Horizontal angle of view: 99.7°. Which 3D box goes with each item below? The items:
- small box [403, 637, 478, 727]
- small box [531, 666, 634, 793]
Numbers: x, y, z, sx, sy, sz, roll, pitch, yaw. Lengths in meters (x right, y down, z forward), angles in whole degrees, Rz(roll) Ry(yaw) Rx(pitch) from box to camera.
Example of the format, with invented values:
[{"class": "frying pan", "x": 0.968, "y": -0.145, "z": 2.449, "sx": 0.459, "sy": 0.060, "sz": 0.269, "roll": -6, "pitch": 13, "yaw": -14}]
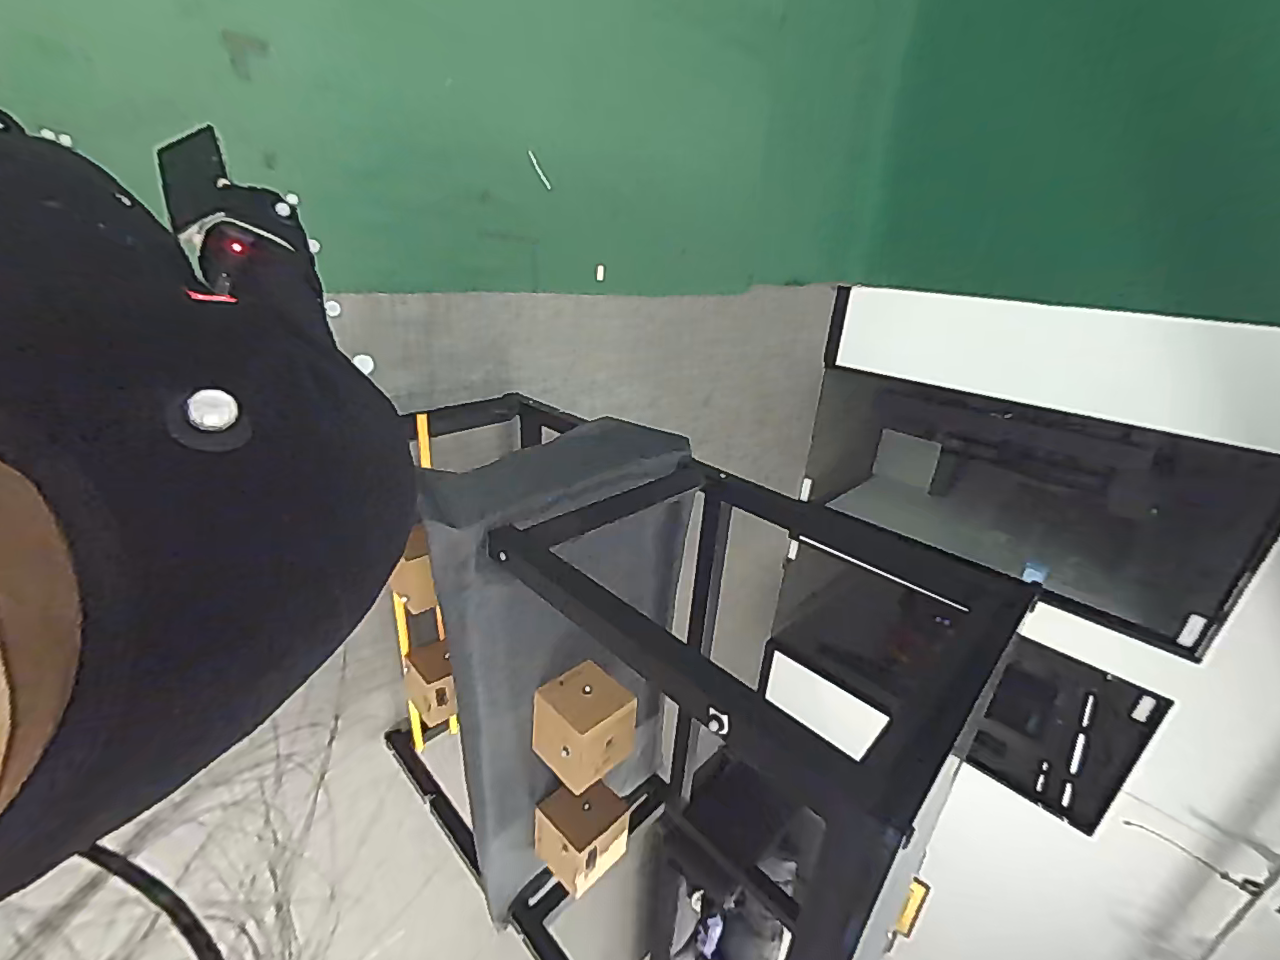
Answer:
[{"class": "small box", "x": -0.632, "y": 0.628, "z": 1.704, "sx": 0.179, "sy": 0.176, "sz": 0.168, "roll": -16, "pitch": 120, "yaw": -44}, {"class": "small box", "x": -0.134, "y": 0.553, "z": 1.235, "sx": 0.168, "sy": 0.176, "sz": 0.179, "roll": -16, "pitch": 120, "yaw": -44}]
